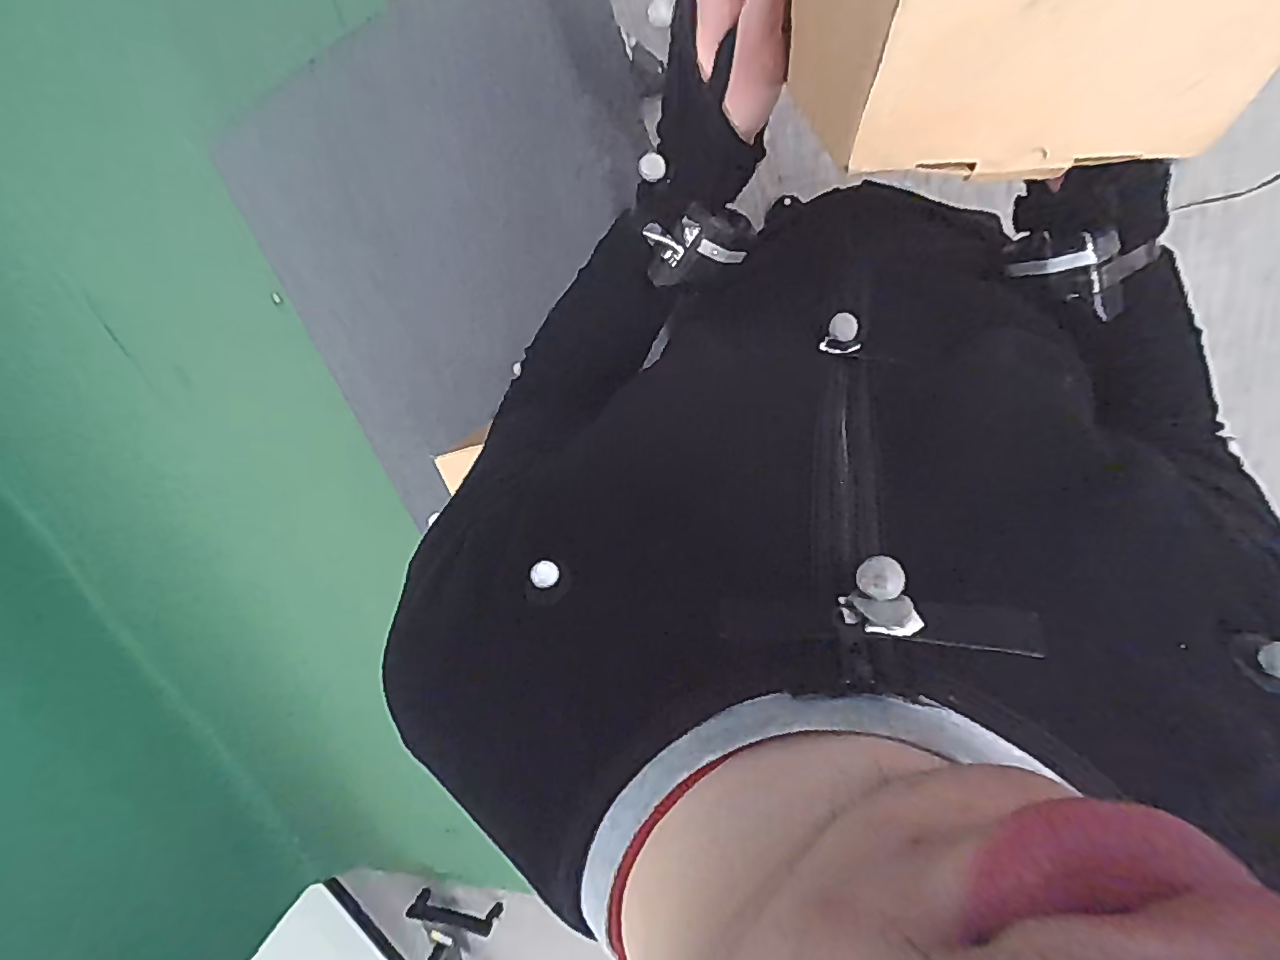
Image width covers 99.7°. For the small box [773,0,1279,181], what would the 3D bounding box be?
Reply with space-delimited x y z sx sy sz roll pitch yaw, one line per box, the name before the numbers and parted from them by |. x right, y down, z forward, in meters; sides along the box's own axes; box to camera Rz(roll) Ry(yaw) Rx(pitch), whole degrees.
small box | 0.162 -0.253 0.217 0.168 0.176 0.179 -5 146 -4
